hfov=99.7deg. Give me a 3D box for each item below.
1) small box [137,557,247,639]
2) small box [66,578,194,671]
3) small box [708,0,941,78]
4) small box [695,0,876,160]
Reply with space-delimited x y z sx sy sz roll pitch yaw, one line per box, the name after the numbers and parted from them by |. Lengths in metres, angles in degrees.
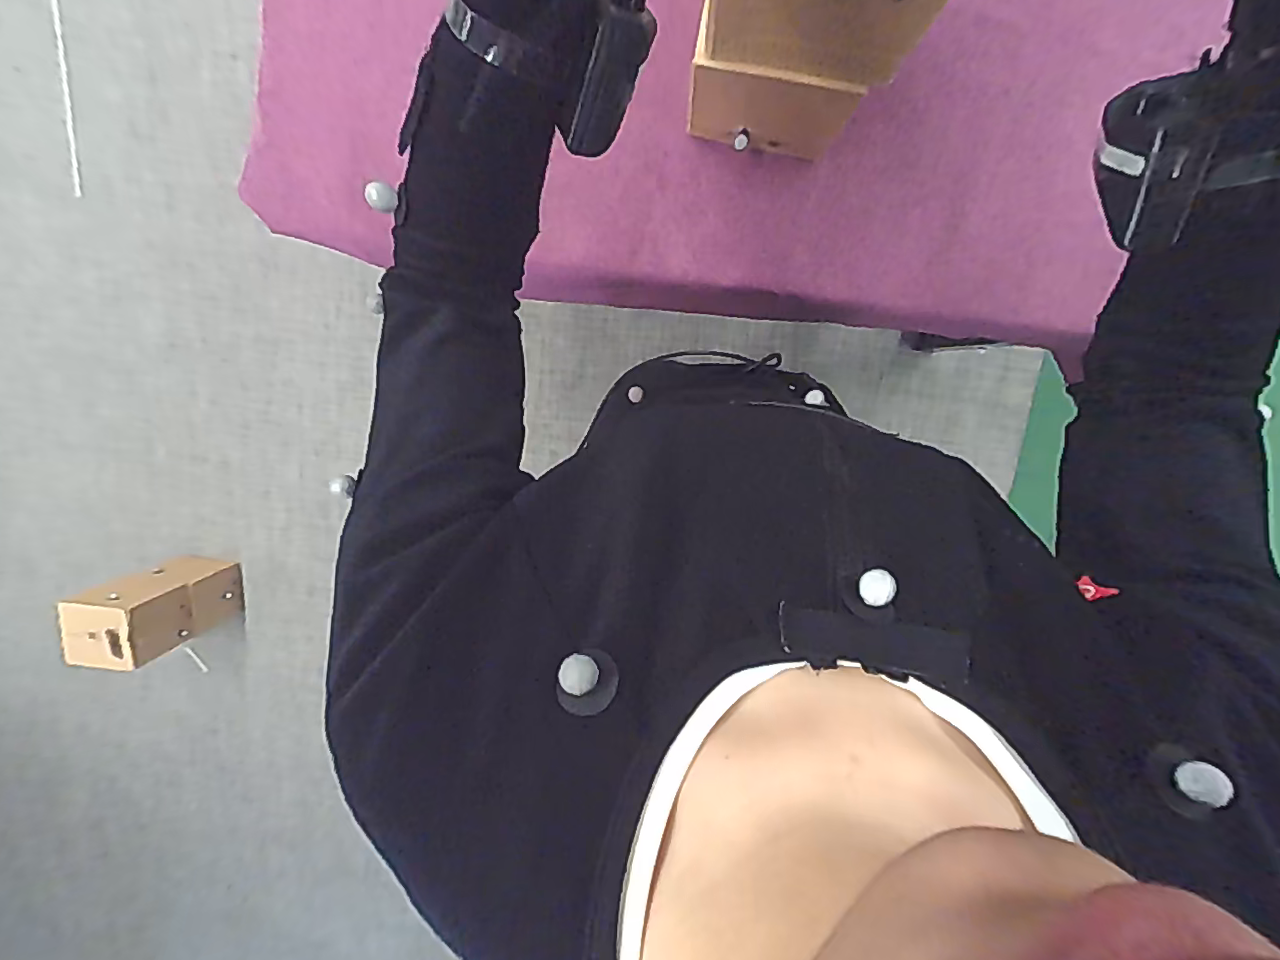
-1.267 0.329 1.539 0.179 0.176 0.168 6 103 1 | small box
-1.283 0.361 1.379 0.179 0.176 0.168 6 102 3 | small box
0.150 -0.433 0.394 0.179 0.176 0.168 10 101 2 | small box
0.152 -0.464 0.552 0.168 0.176 0.179 12 103 2 | small box
